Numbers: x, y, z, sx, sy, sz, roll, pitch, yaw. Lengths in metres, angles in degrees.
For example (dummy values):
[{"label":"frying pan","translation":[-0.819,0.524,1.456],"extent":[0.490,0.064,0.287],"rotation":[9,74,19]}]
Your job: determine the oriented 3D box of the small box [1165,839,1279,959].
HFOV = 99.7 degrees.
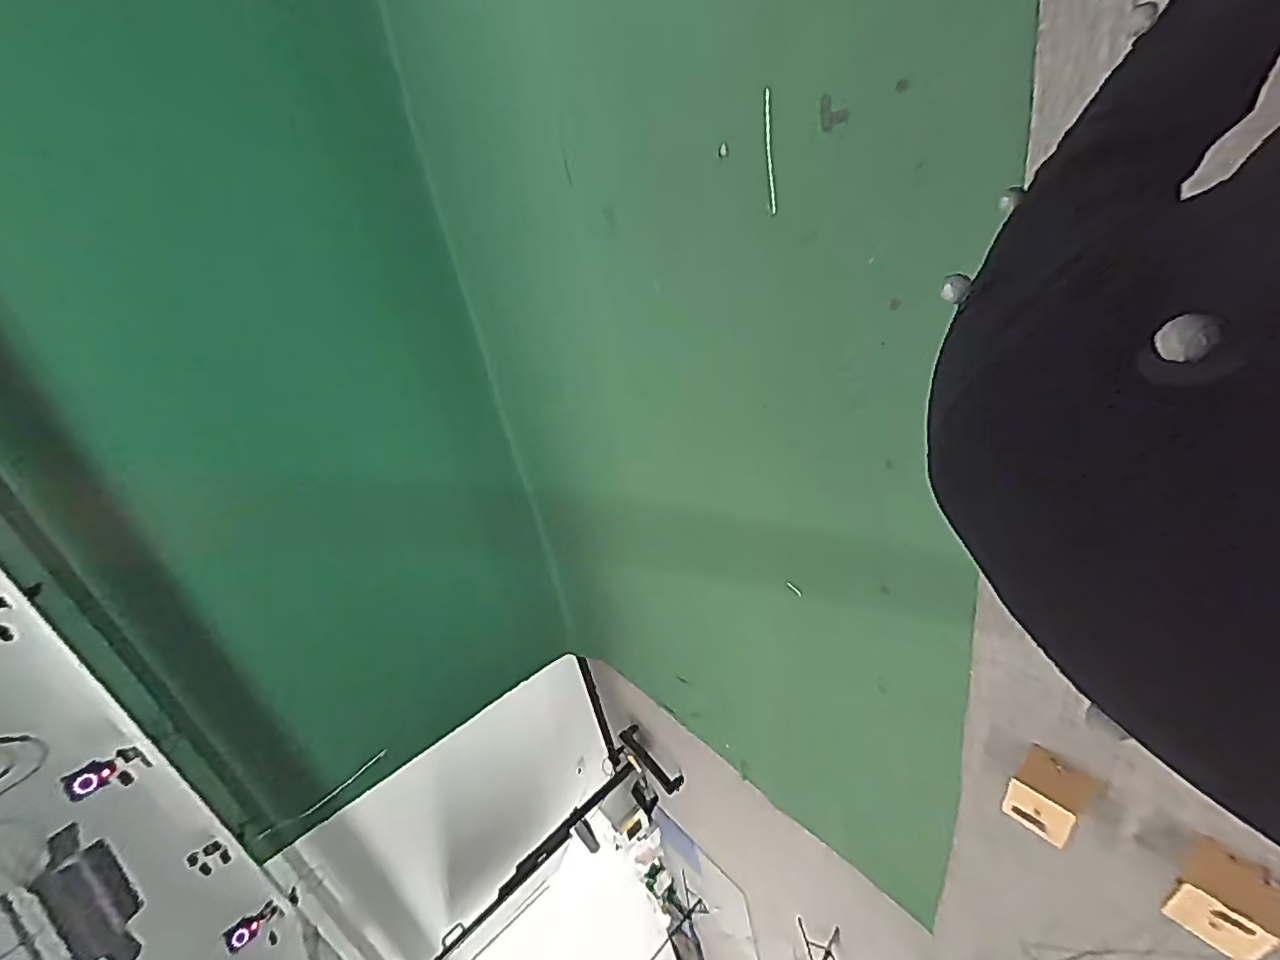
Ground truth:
[{"label":"small box","translation":[1.510,1.080,1.390],"extent":[0.168,0.176,0.179],"rotation":[28,136,44]}]
